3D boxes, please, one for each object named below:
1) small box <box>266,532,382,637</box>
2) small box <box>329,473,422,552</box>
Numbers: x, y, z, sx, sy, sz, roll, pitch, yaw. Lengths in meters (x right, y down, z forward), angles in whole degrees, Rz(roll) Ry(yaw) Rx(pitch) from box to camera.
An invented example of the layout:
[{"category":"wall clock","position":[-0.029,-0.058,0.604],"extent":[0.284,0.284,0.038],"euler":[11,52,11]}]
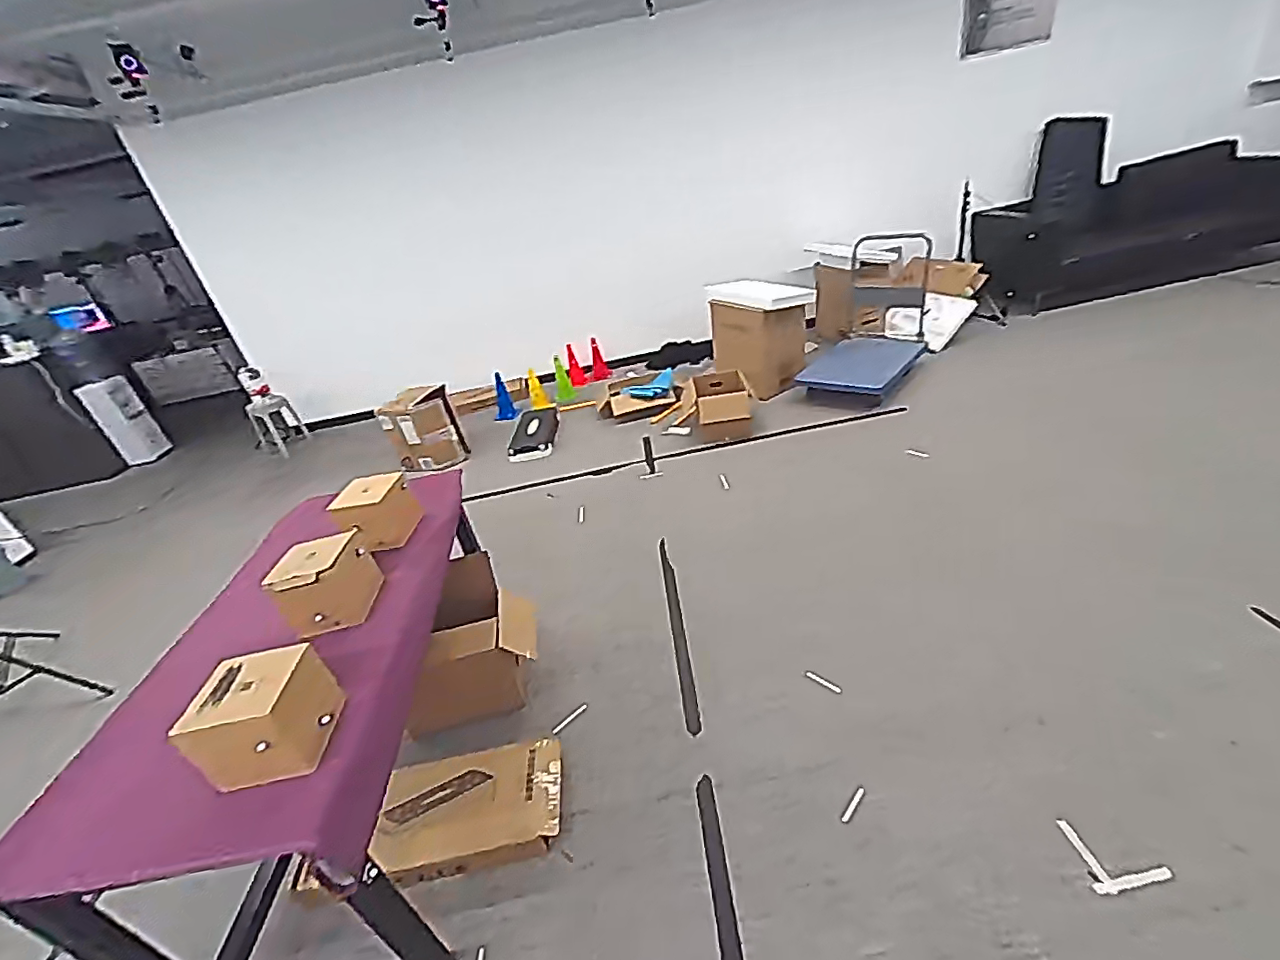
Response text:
[{"category":"small box","position":[-0.774,0.260,1.353],"extent":[0.168,0.176,0.179],"euler":[-15,30,1]},{"category":"small box","position":[-0.786,0.104,1.630],"extent":[0.168,0.176,0.179],"euler":[-9,29,6]}]
